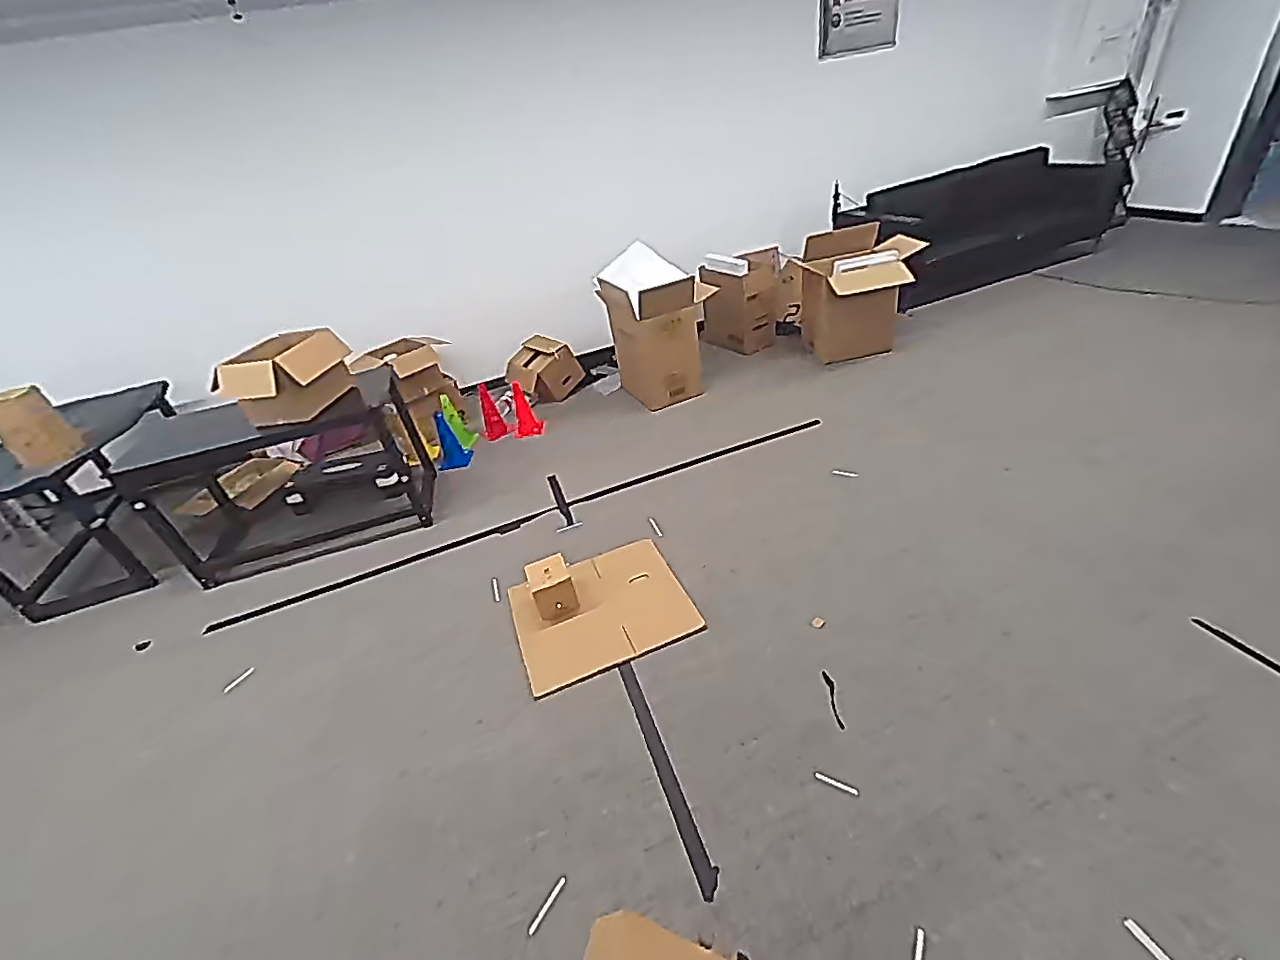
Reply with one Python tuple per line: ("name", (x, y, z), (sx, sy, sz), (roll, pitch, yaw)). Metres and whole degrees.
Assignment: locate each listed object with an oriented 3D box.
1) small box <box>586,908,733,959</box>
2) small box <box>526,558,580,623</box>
("small box", (0.019, 0.547, 0.513), (0.179, 0.176, 0.168), (23, 47, 3))
("small box", (-0.366, 0.465, 2.271), (0.168, 0.176, 0.179), (-20, 35, -12))
